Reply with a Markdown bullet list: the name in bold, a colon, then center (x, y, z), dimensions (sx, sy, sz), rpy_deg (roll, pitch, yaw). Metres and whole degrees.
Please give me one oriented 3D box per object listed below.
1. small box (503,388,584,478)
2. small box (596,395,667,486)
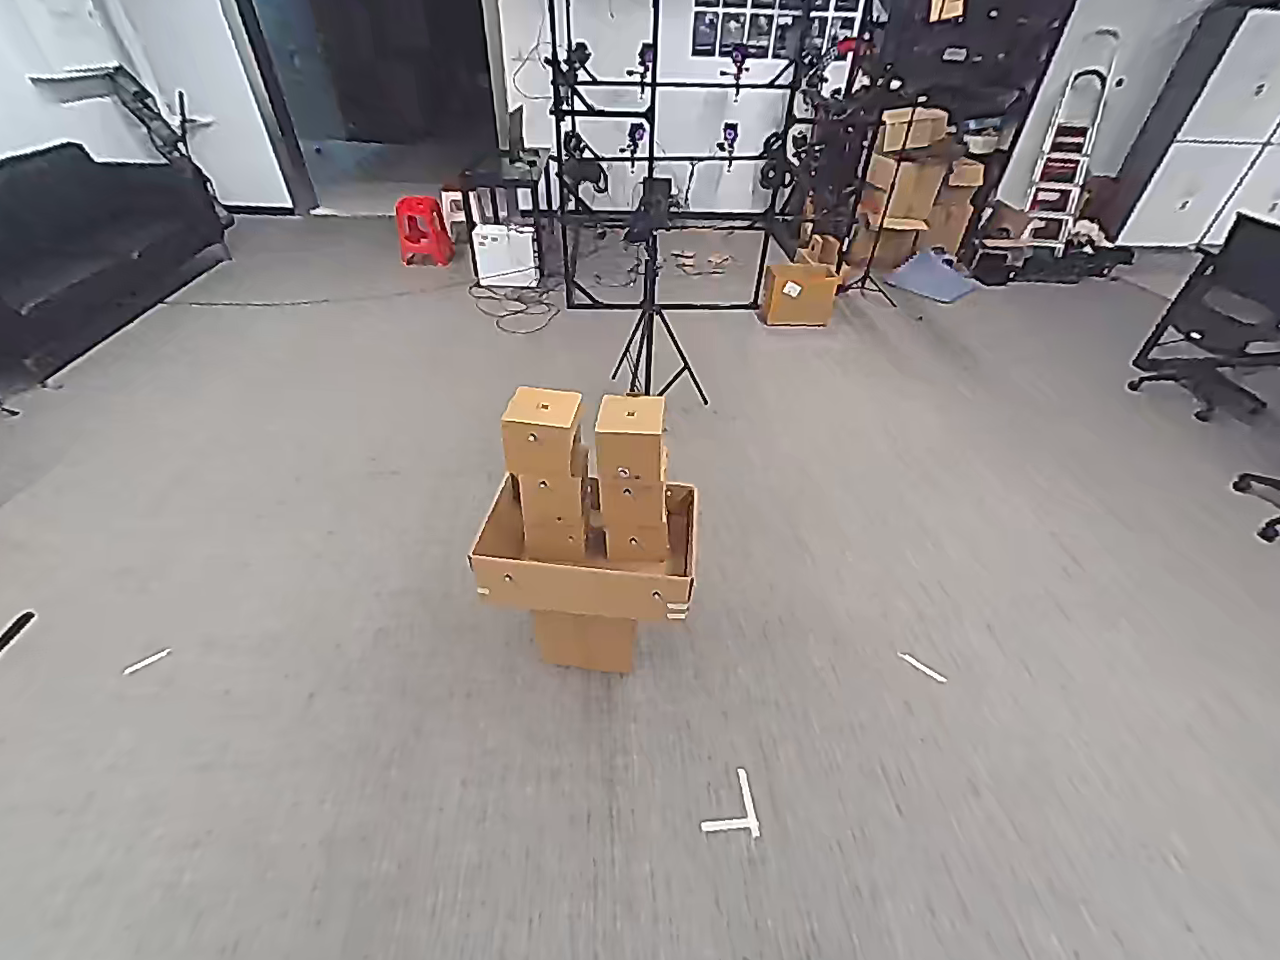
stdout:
- **small box**: center (-0.247, -0.122, 1.428), dimensions (0.179, 0.176, 0.168), rpy_deg (6, 40, 3)
- **small box**: center (-0.018, -0.104, 1.414), dimensions (0.168, 0.176, 0.179), rpy_deg (2, 39, 4)
